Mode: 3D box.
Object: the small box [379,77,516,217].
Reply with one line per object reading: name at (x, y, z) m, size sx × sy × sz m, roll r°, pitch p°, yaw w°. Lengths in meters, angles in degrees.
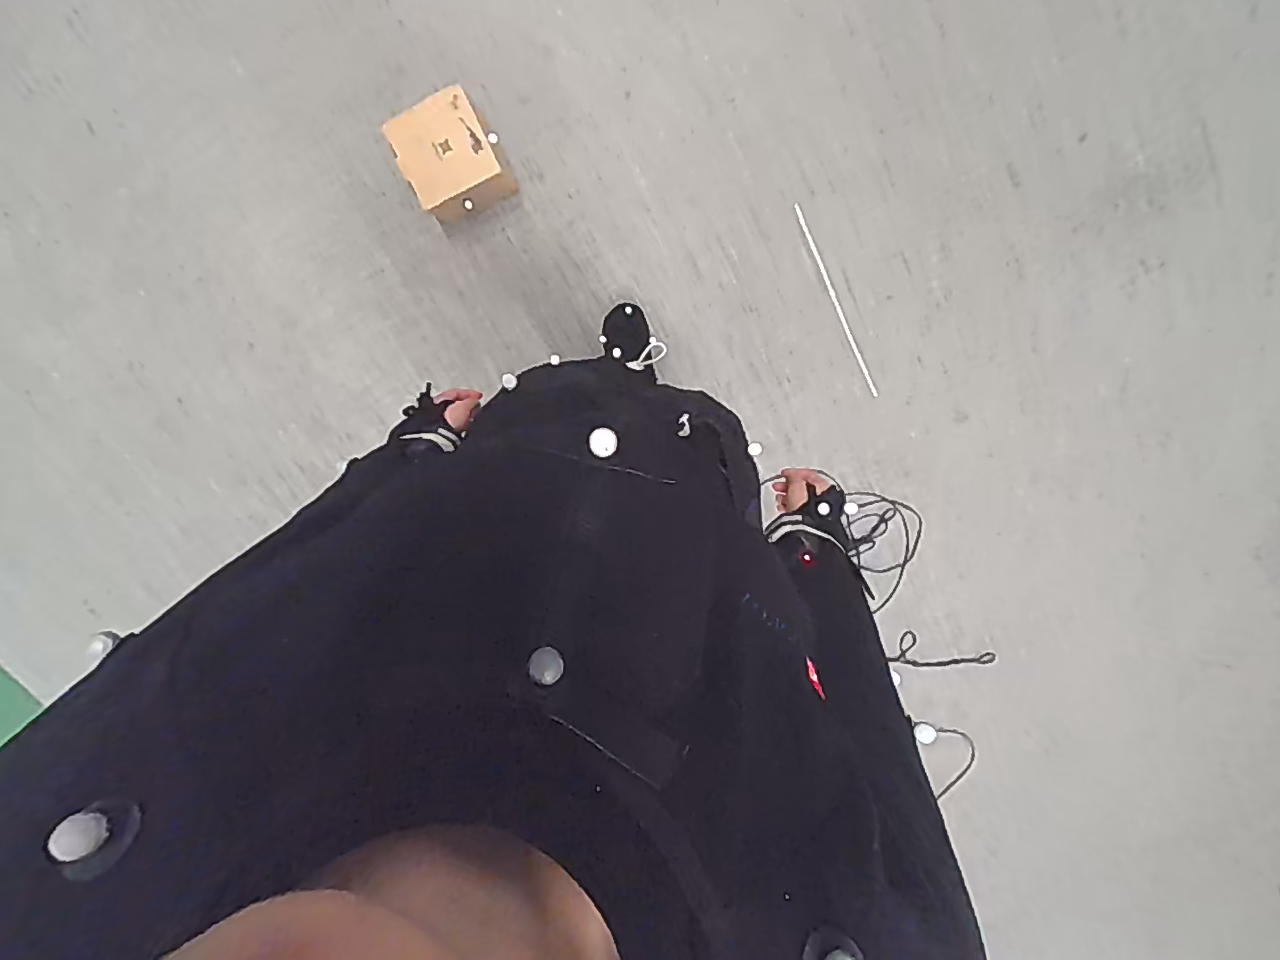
small box at (-0.378, -0.658, 1.095) m, size 0.179 × 0.176 × 0.168 m, roll -23°, pitch 106°, yaw 8°
